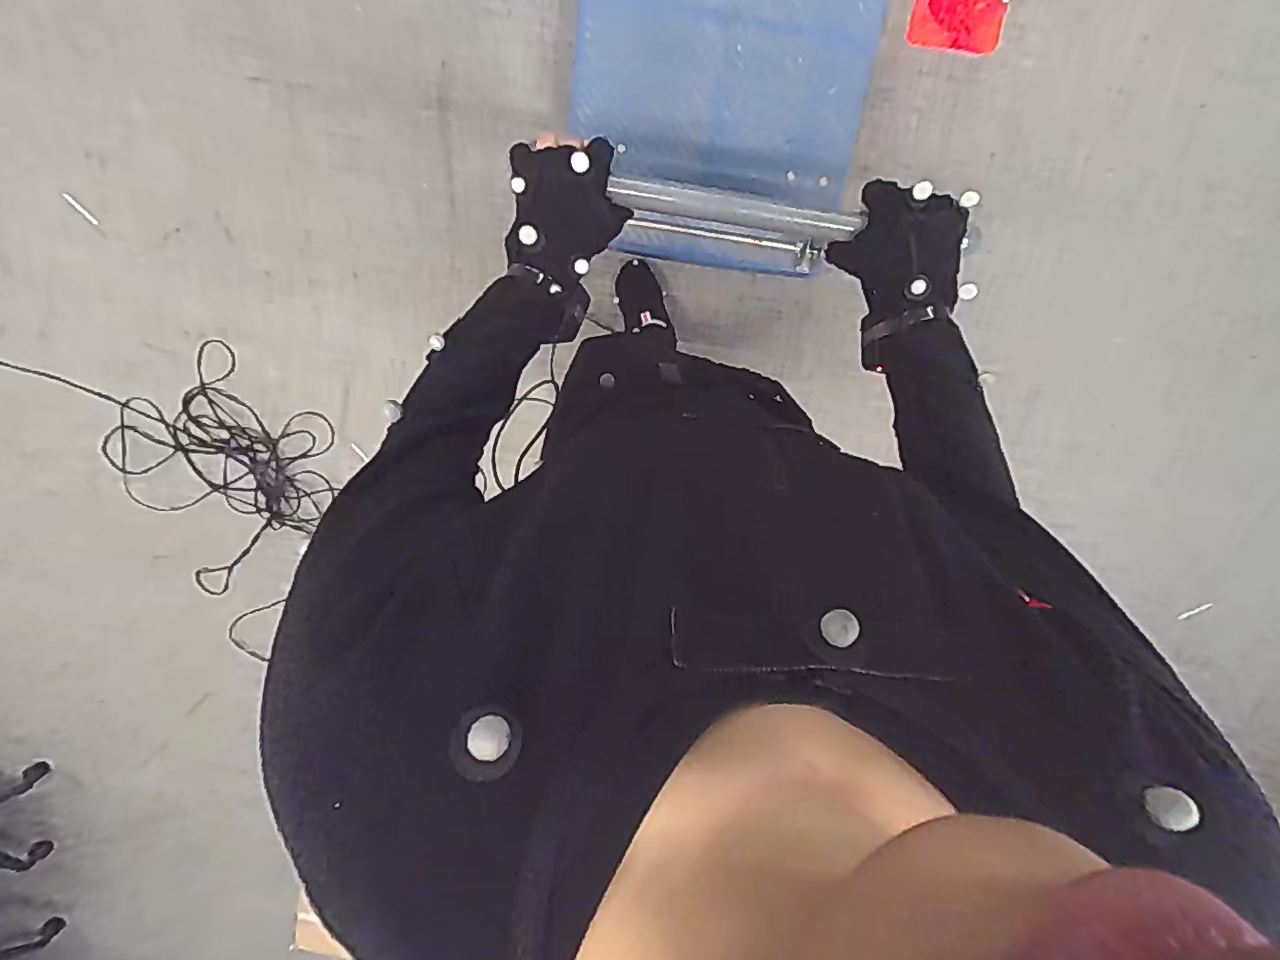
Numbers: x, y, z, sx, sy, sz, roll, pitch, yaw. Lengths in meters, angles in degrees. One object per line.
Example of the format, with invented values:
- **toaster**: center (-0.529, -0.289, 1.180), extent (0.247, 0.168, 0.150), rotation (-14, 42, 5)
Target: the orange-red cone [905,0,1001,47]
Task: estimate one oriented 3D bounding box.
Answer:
- **orange-red cone**: center (0.679, -1.005, 0.996), extent (0.199, 0.360, 0.198), rotation (8, 107, 0)
